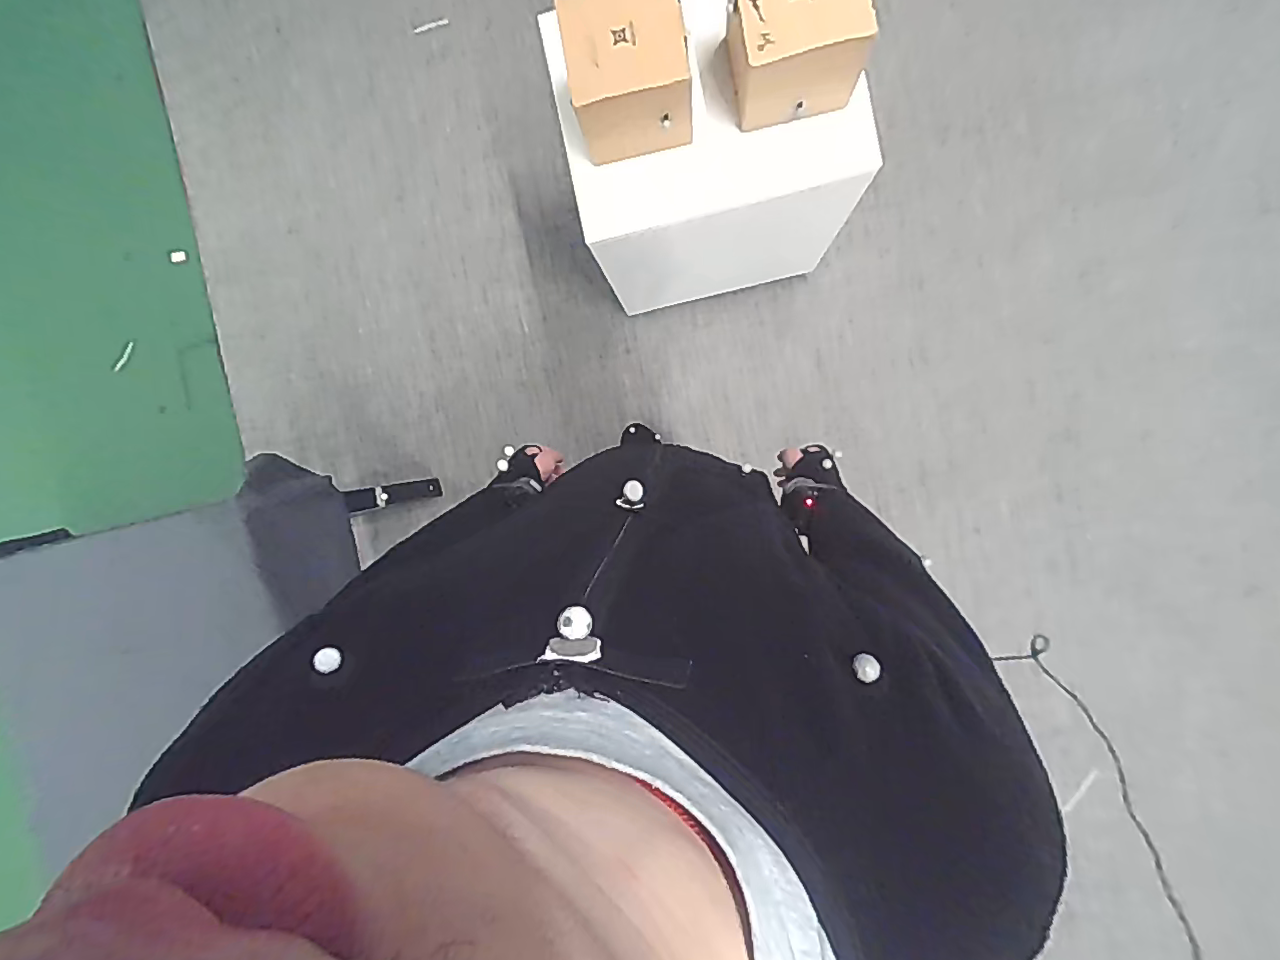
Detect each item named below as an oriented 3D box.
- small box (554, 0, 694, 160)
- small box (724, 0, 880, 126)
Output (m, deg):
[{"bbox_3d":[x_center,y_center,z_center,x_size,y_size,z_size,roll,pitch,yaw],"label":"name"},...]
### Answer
[{"bbox_3d":[-0.017,-0.630,0.829,0.179,0.176,0.168,-10,92,7],"label":"small box"},{"bbox_3d":[0.228,-0.668,0.802,0.179,0.176,0.168,-10,94,6],"label":"small box"}]
